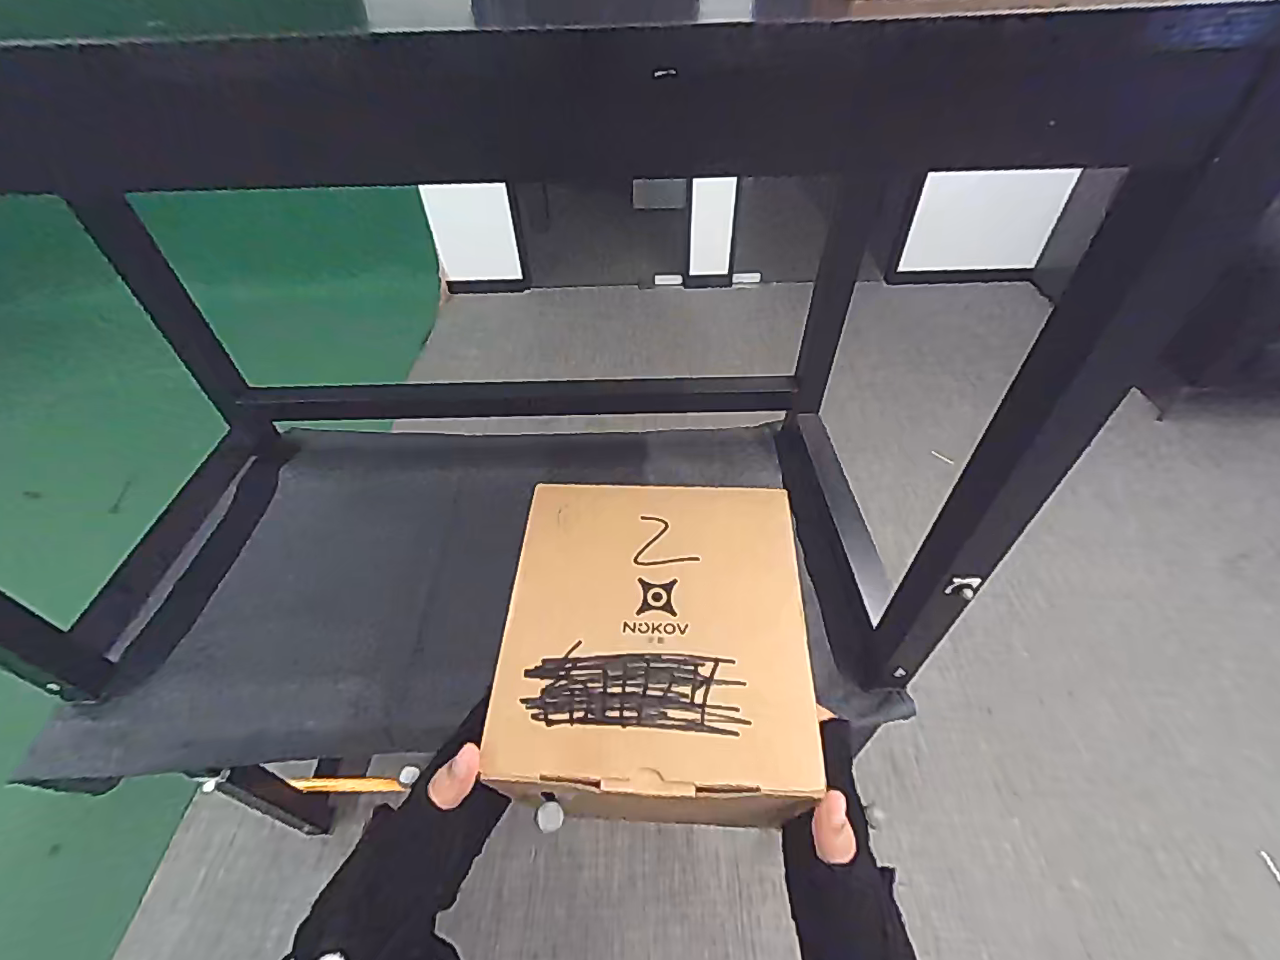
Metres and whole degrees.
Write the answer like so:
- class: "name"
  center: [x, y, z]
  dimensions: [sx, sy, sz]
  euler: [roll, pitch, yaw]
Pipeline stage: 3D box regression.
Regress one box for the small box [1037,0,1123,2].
- class: "small box"
  center: [0.202, -0.368, 0.281]
  dimensions: [0.168, 0.176, 0.179]
  euler: [4, 45, 7]
